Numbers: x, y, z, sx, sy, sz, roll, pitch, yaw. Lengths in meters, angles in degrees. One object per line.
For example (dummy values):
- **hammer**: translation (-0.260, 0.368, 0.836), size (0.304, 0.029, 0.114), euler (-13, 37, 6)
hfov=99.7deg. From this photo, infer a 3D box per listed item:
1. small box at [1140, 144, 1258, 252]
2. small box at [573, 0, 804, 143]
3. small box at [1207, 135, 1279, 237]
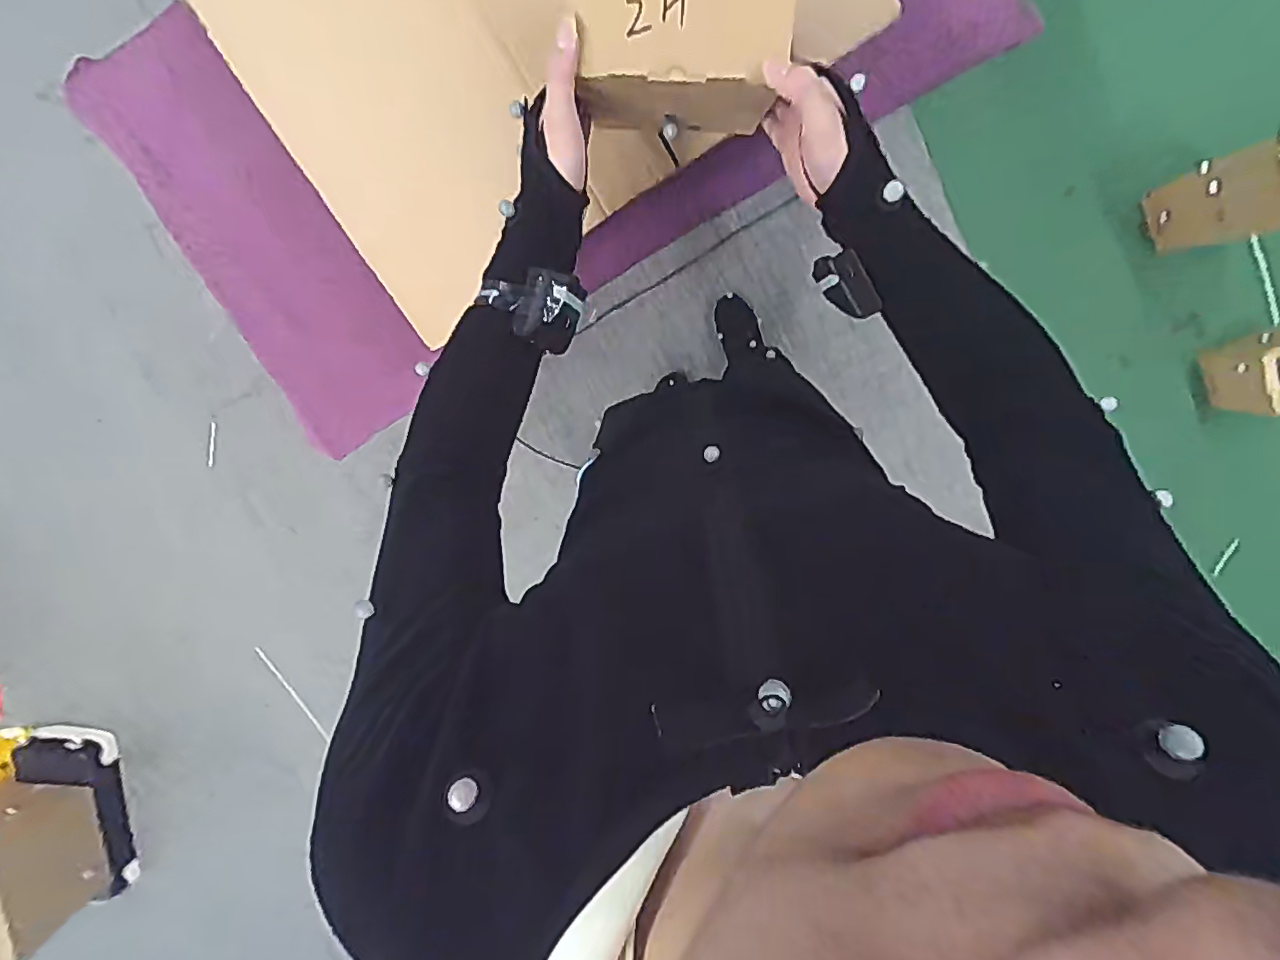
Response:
- **small box**: translation (1.417, -0.695, 1.340), size (0.179, 0.176, 0.168), euler (-28, 100, 9)
- **small box**: translation (0.039, -0.400, 0.445), size (0.168, 0.176, 0.179), euler (4, 112, 1)
- **small box**: translation (1.410, -0.660, 1.180), size (0.179, 0.176, 0.168), euler (-28, 100, 7)
